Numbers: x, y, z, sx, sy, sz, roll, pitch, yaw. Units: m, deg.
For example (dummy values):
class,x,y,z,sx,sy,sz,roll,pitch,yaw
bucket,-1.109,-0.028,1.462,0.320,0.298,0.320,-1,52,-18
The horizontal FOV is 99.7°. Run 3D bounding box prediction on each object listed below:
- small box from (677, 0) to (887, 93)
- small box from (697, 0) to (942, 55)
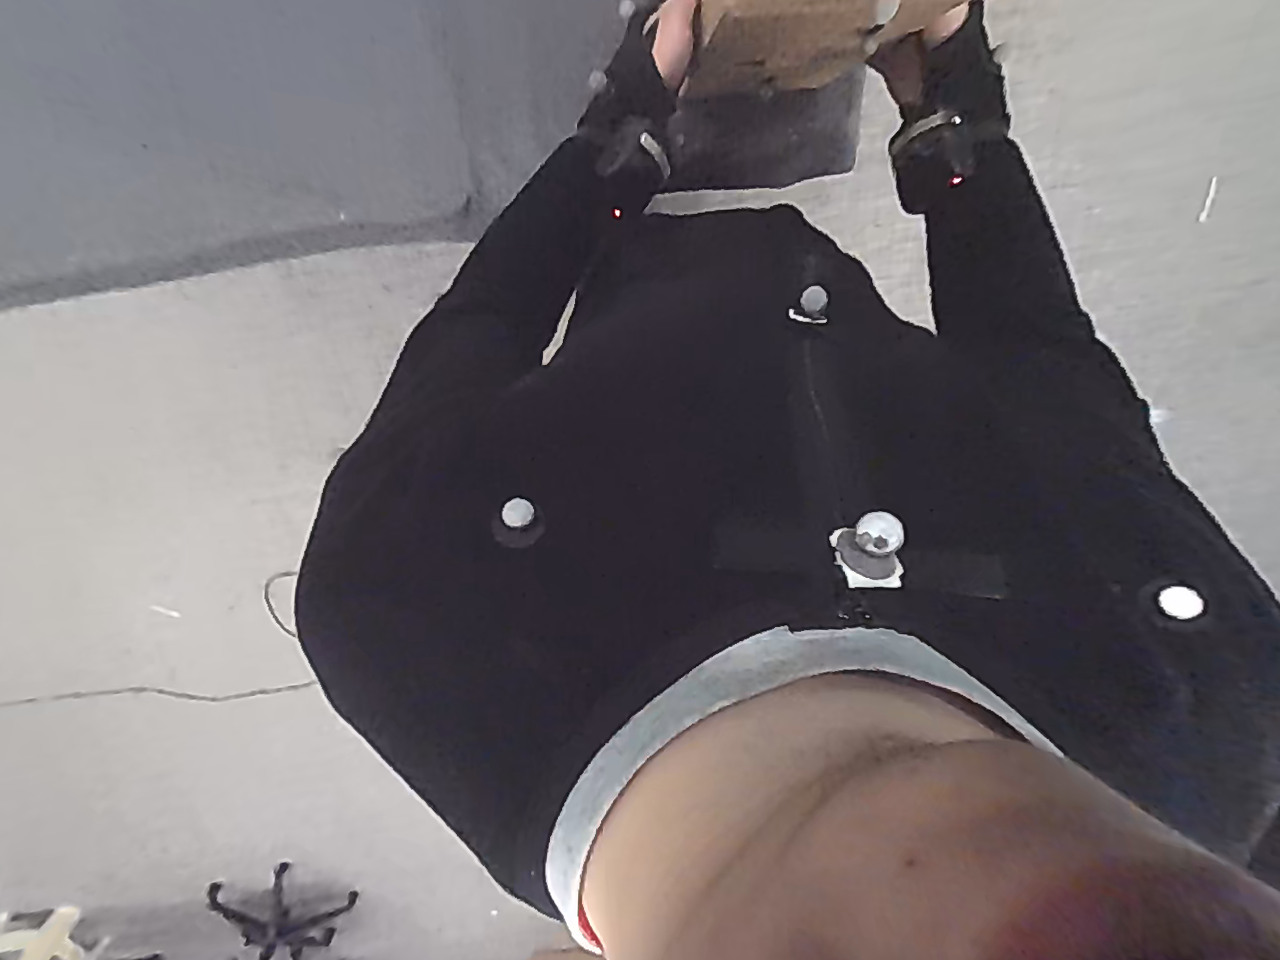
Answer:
class,x,y,z,sx,sy,sz,roll,pitch,yaw
small box,0.123,-0.473,0.495,0.168,0.176,0.179,-5,118,1
small box,0.127,-0.401,0.349,0.168,0.176,0.179,-4,116,0
